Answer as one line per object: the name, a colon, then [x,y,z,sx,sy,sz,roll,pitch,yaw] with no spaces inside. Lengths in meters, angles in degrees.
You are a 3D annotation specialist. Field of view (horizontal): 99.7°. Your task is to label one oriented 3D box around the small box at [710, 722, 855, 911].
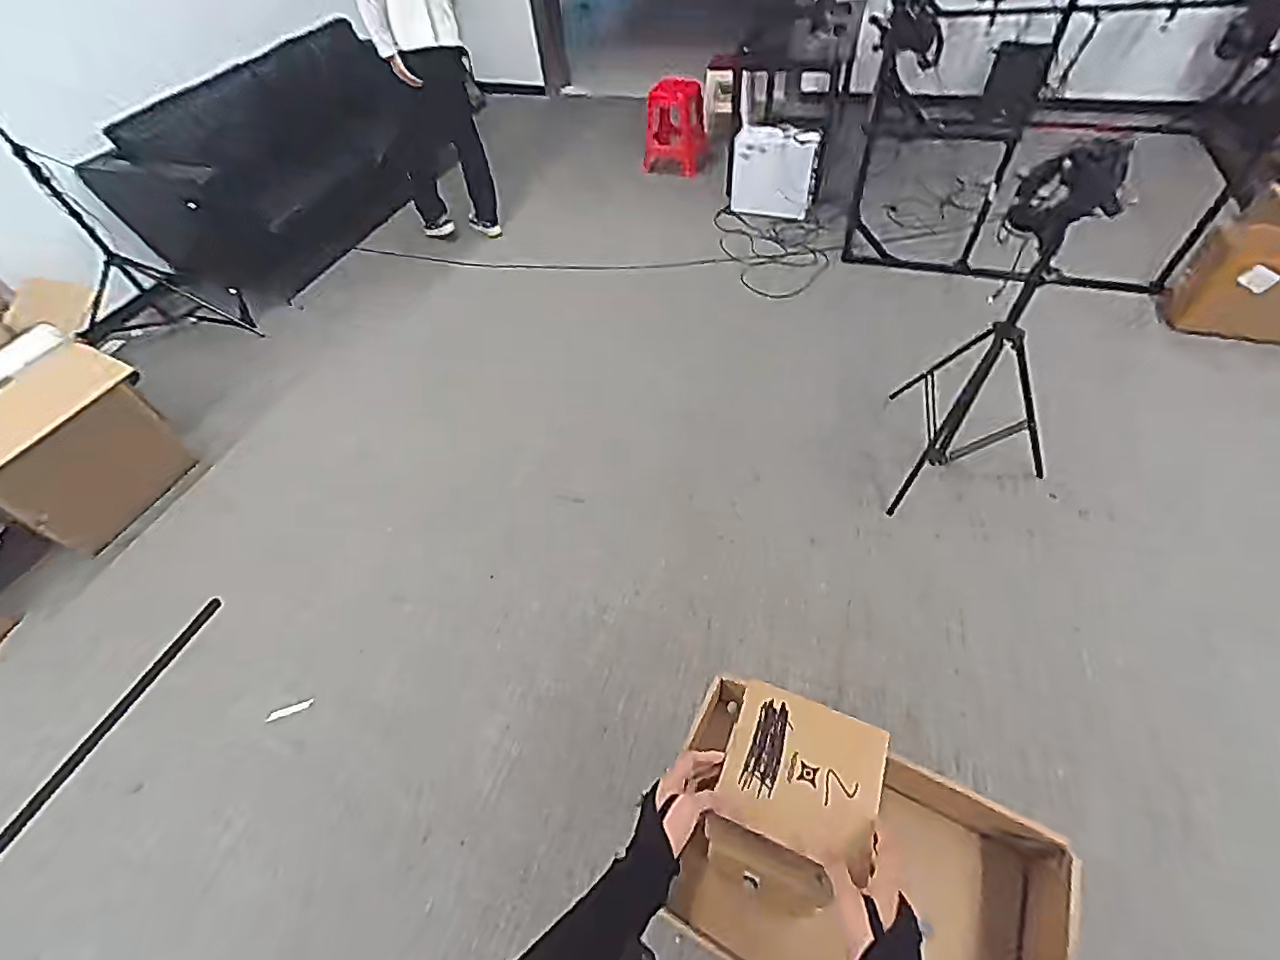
small box: [0.205,0.502,0.807,0.168,0.176,0.179,15,52,19]
